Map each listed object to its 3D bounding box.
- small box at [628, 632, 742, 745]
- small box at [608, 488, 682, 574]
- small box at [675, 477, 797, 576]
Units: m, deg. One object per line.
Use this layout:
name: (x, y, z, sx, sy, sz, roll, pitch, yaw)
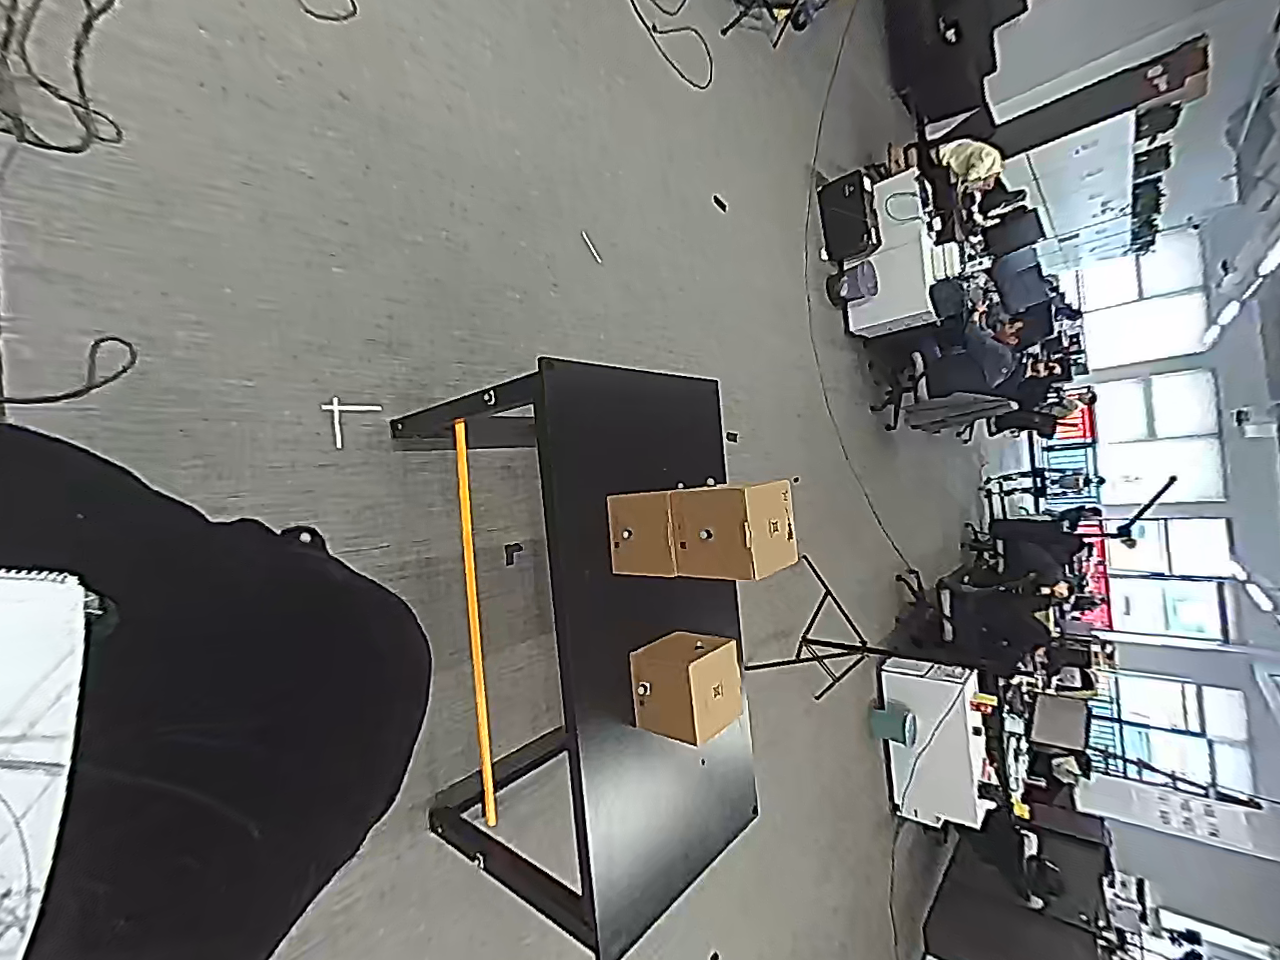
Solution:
small box: (0.098, 0.437, 1.168, 0.179, 0.176, 0.168, -7, 90, -47)
small box: (0.052, 0.102, 1.151, 0.179, 0.176, 0.168, -3, 88, -48)
small box: (0.180, 0.088, 1.048, 0.179, 0.176, 0.168, -7, 91, -48)
